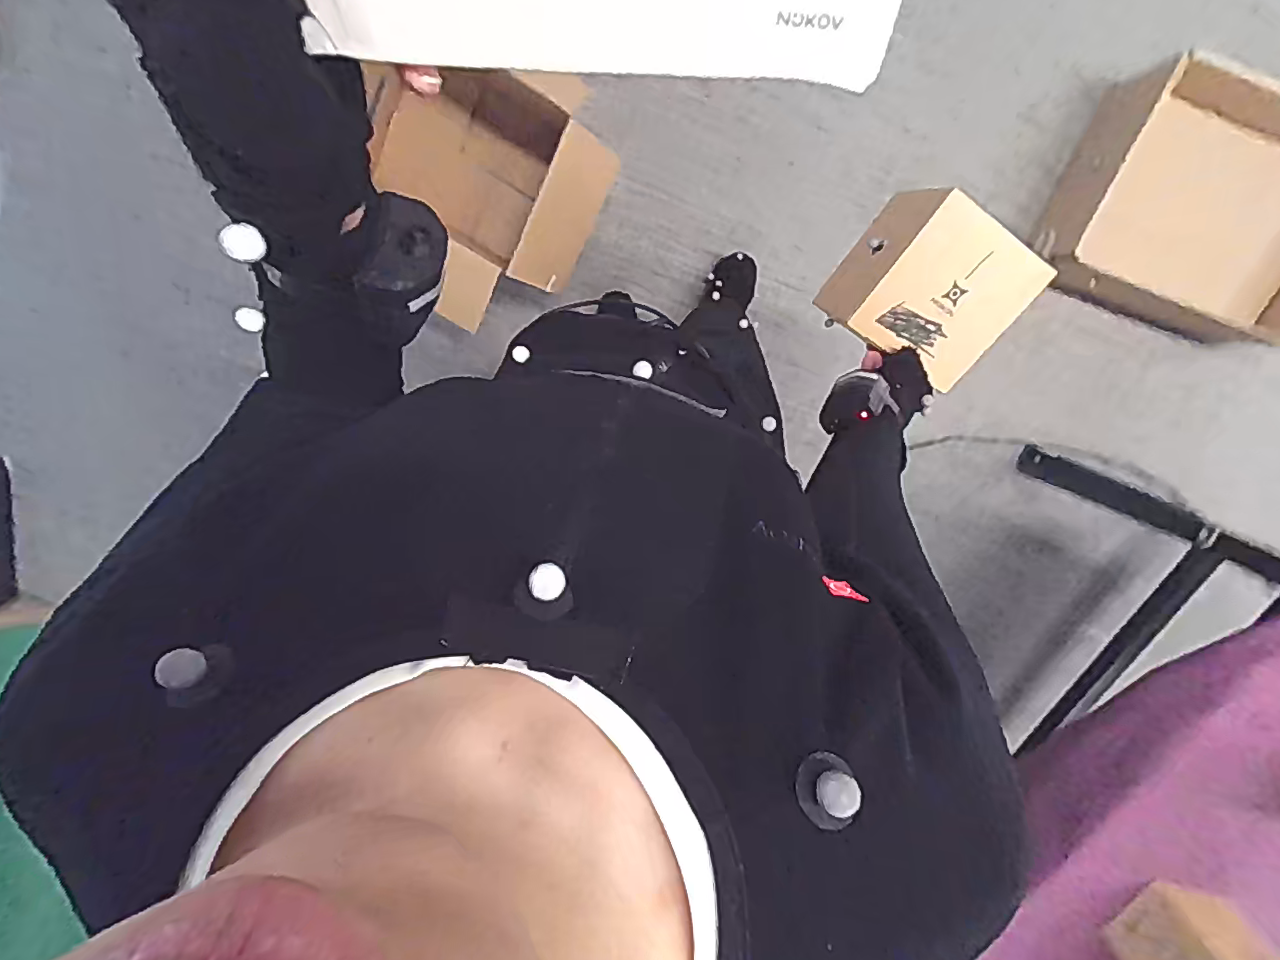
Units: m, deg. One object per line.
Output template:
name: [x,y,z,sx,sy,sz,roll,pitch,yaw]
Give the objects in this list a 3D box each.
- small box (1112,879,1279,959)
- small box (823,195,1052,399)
small box: [1.025,0.867,0.975,0.179,0.176,0.168,17,109,-7]
small box: [0.364,-0.240,0.707,0.168,0.176,0.179,31,113,-12]
